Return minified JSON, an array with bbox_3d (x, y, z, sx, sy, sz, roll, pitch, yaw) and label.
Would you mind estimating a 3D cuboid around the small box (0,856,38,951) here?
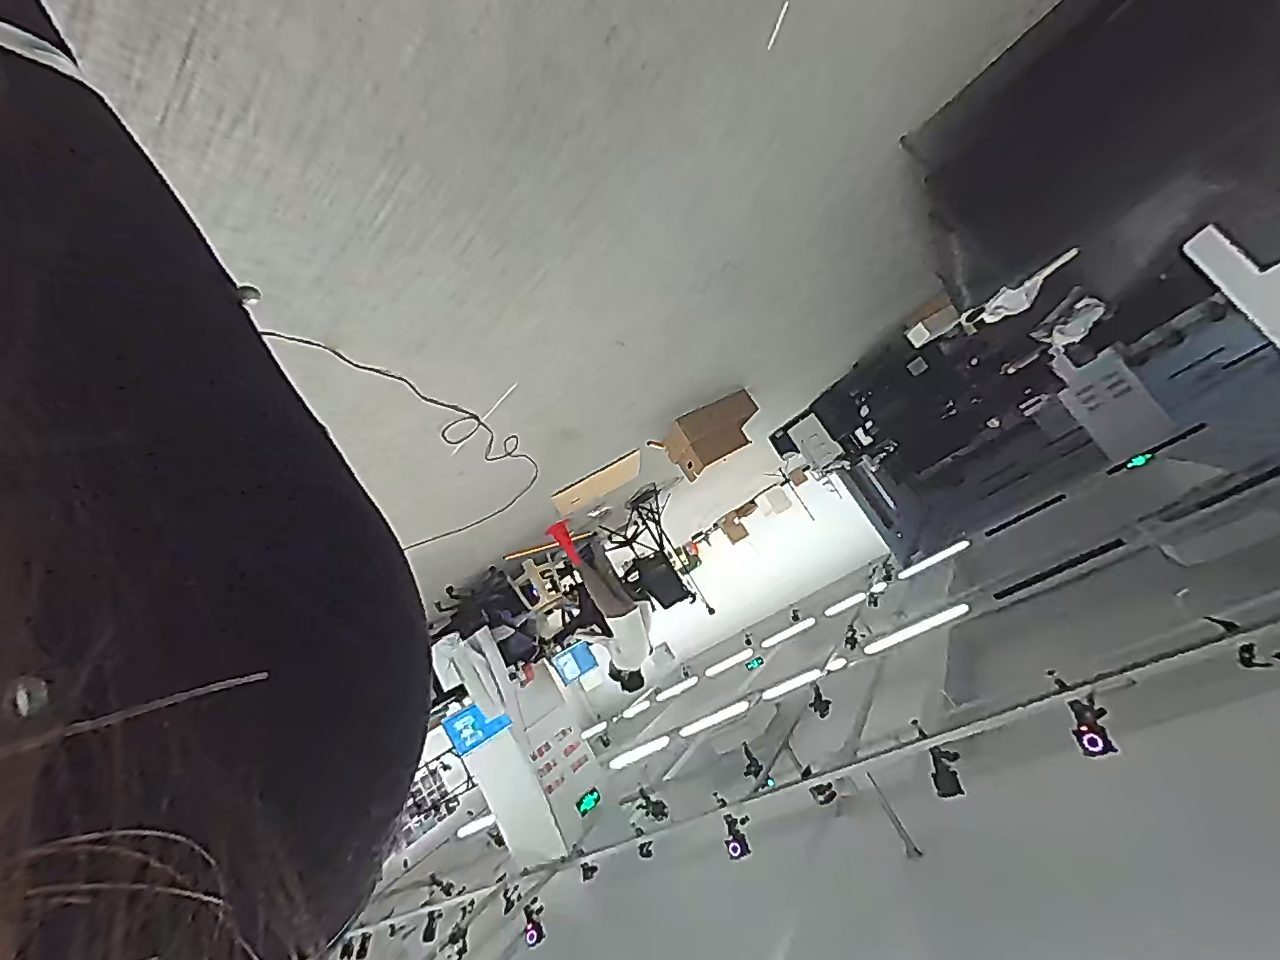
[{"bbox_3d":[-1.443,0.956,1.158,0.168,0.176,0.179,-38,165,32],"label":"small box"}]
